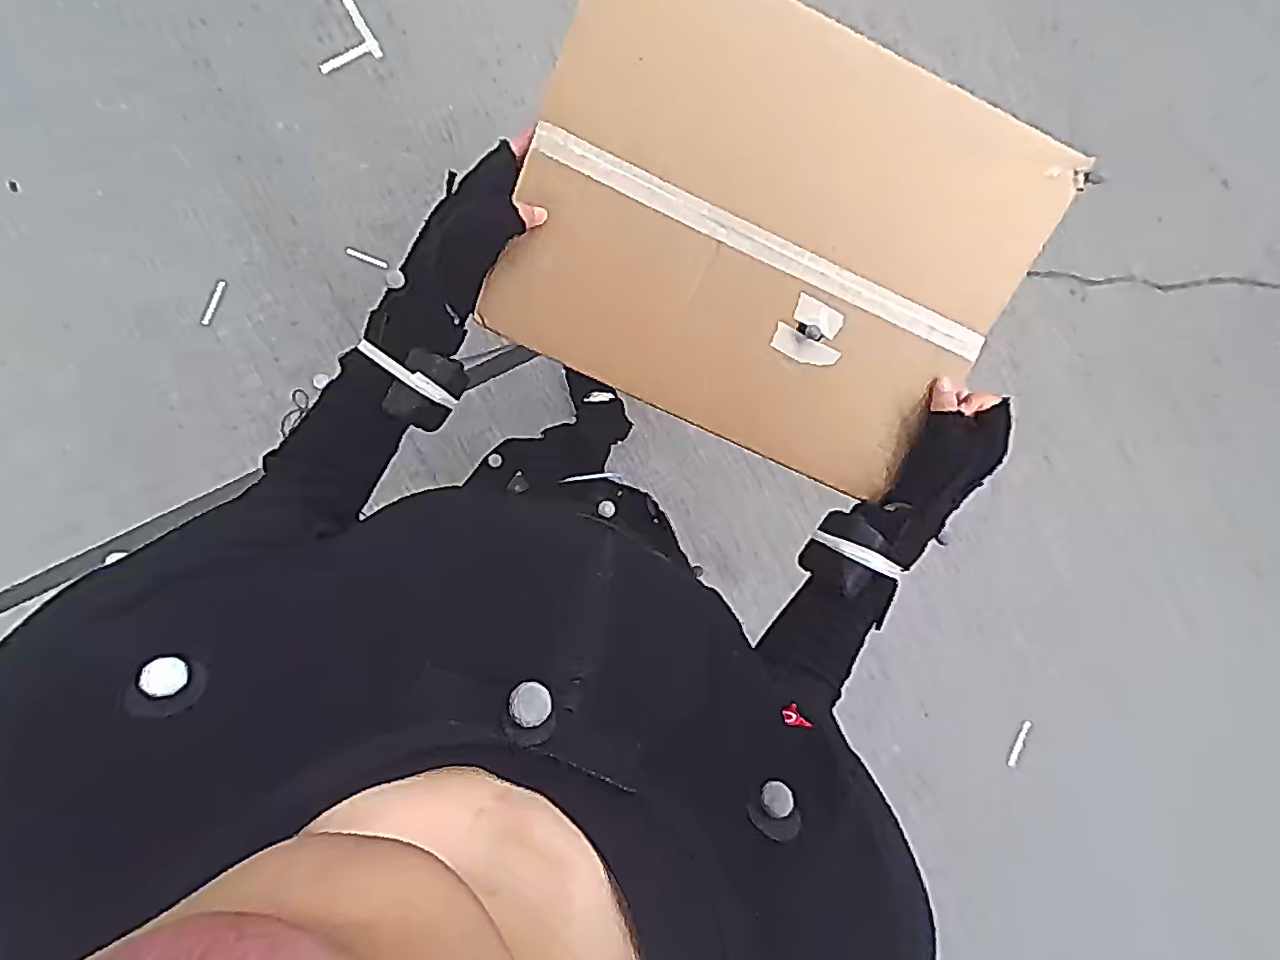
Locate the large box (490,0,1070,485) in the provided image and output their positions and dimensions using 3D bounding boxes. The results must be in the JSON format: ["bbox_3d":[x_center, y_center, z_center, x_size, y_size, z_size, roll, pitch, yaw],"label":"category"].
[{"bbox_3d":[0.108,-0.244,0.598,0.408,0.320,0.320,24,107,-6],"label":"large box"}]
